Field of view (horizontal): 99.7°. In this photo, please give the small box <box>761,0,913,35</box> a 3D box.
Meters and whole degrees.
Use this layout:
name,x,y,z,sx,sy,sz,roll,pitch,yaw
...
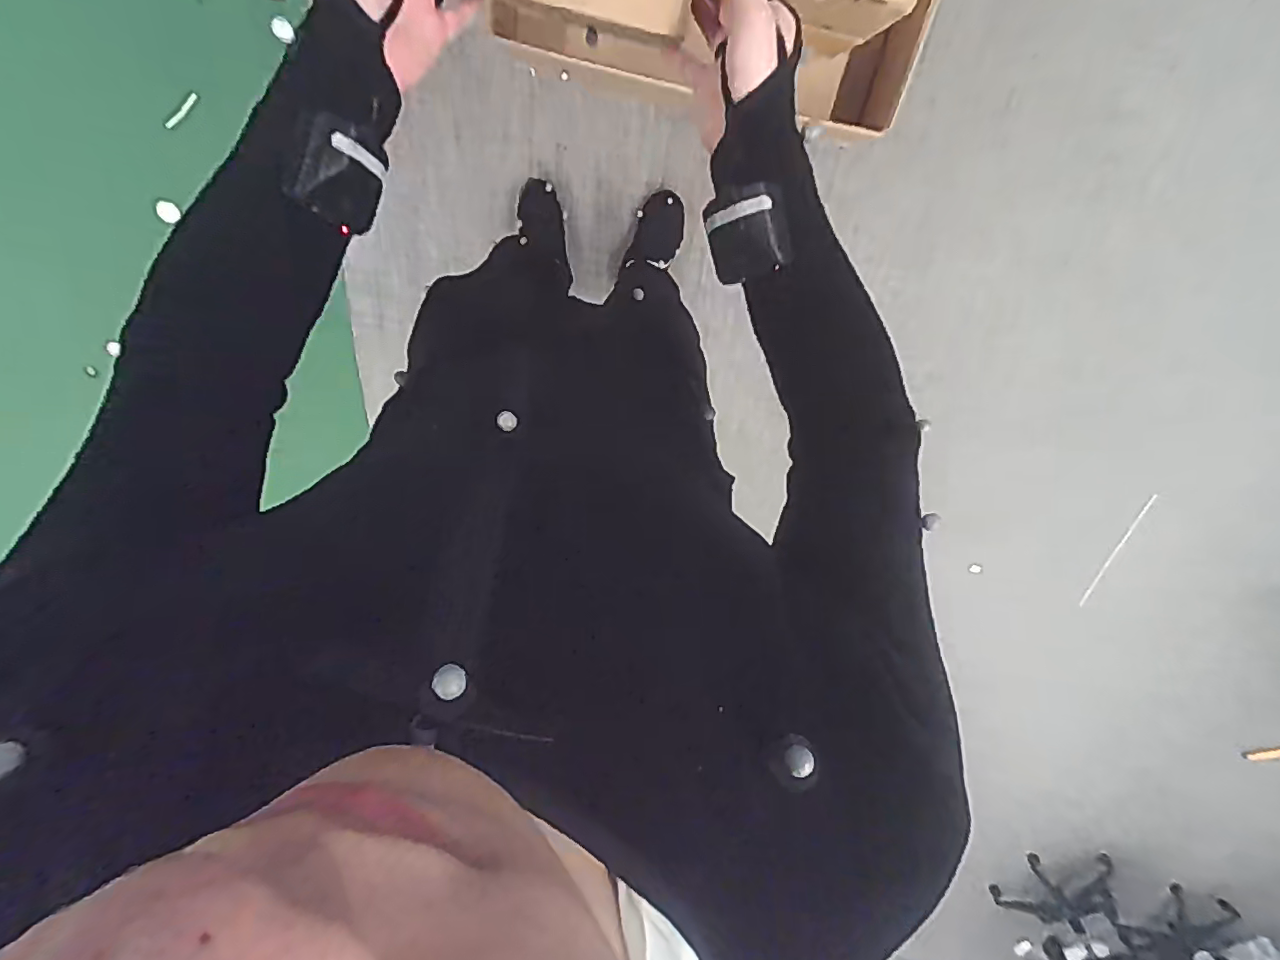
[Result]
name,x,y,z,sx,sy,sz,roll,pitch,yaw
small box,0.240,-0.644,0.616,0.168,0.176,0.179,11,120,-4

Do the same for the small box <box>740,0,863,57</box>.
name,x,y,z,sx,sy,sz,roll,pitch,yaw
small box,0.246,-0.727,0.759,0.168,0.176,0.179,12,120,-4
